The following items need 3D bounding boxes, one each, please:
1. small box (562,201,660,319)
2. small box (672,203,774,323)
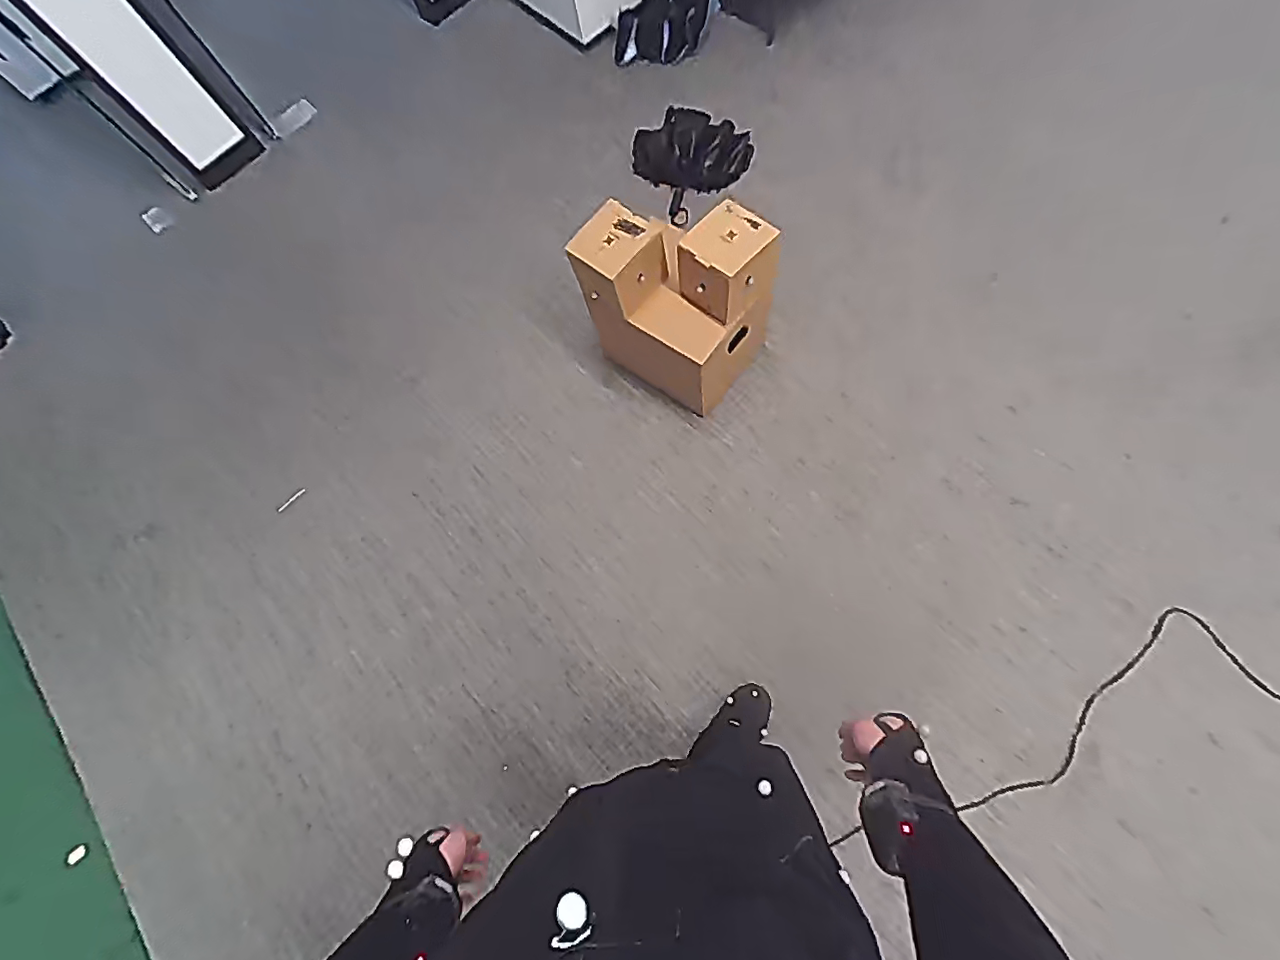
[{"bbox_3d":[-0.063,-0.543,1.352,0.168,0.176,0.179,40,82,18],"label":"small box"},{"bbox_3d":[0.200,-0.519,1.312,0.179,0.176,0.168,-44,71,-11],"label":"small box"}]
